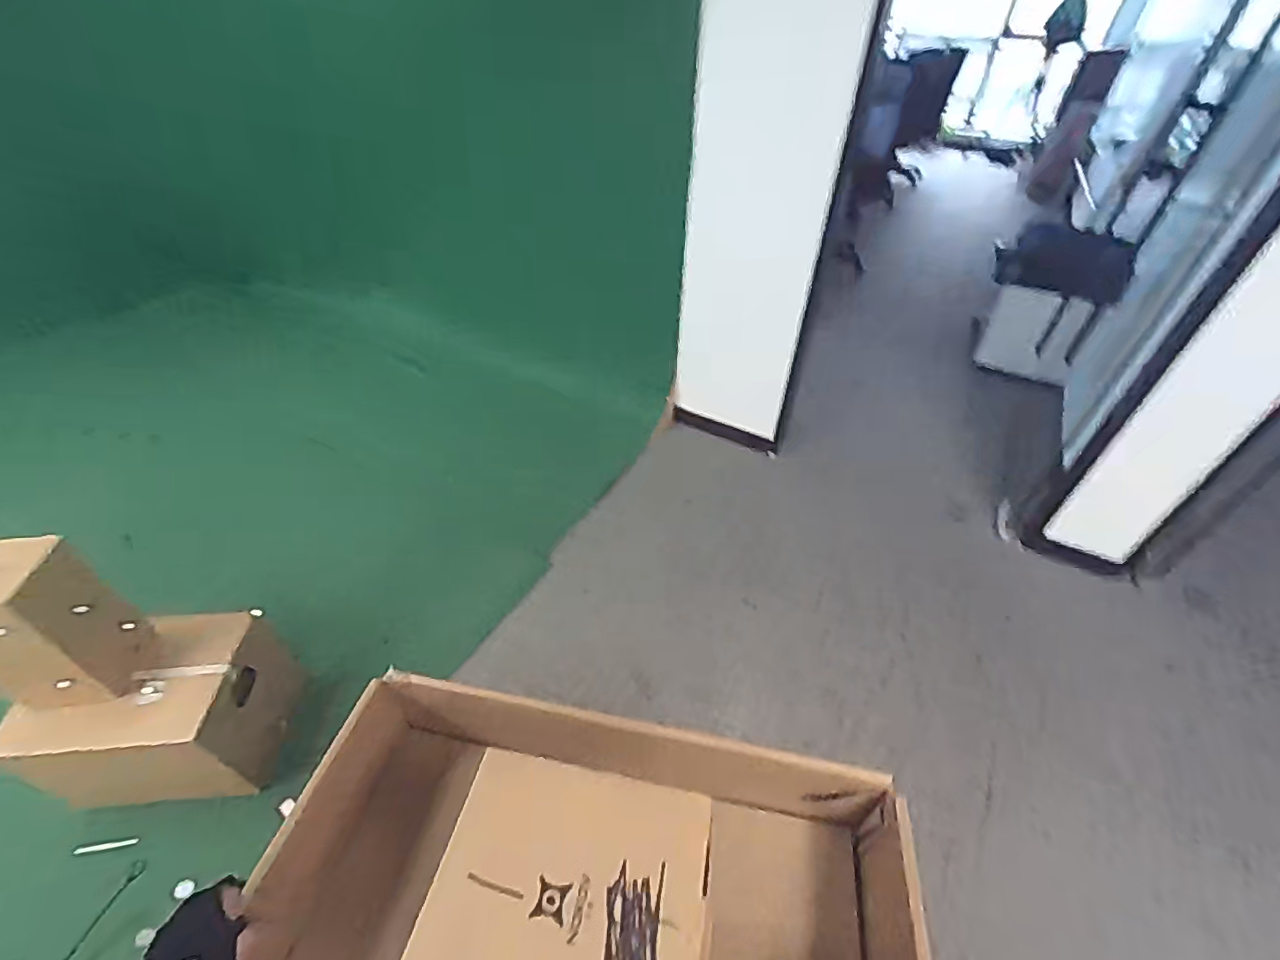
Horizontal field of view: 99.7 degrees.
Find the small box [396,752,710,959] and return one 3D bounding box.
[{"bbox_3d":[-0.051,0.327,0.388,0.179,0.176,0.168,7,42,9],"label":"small box"}]
